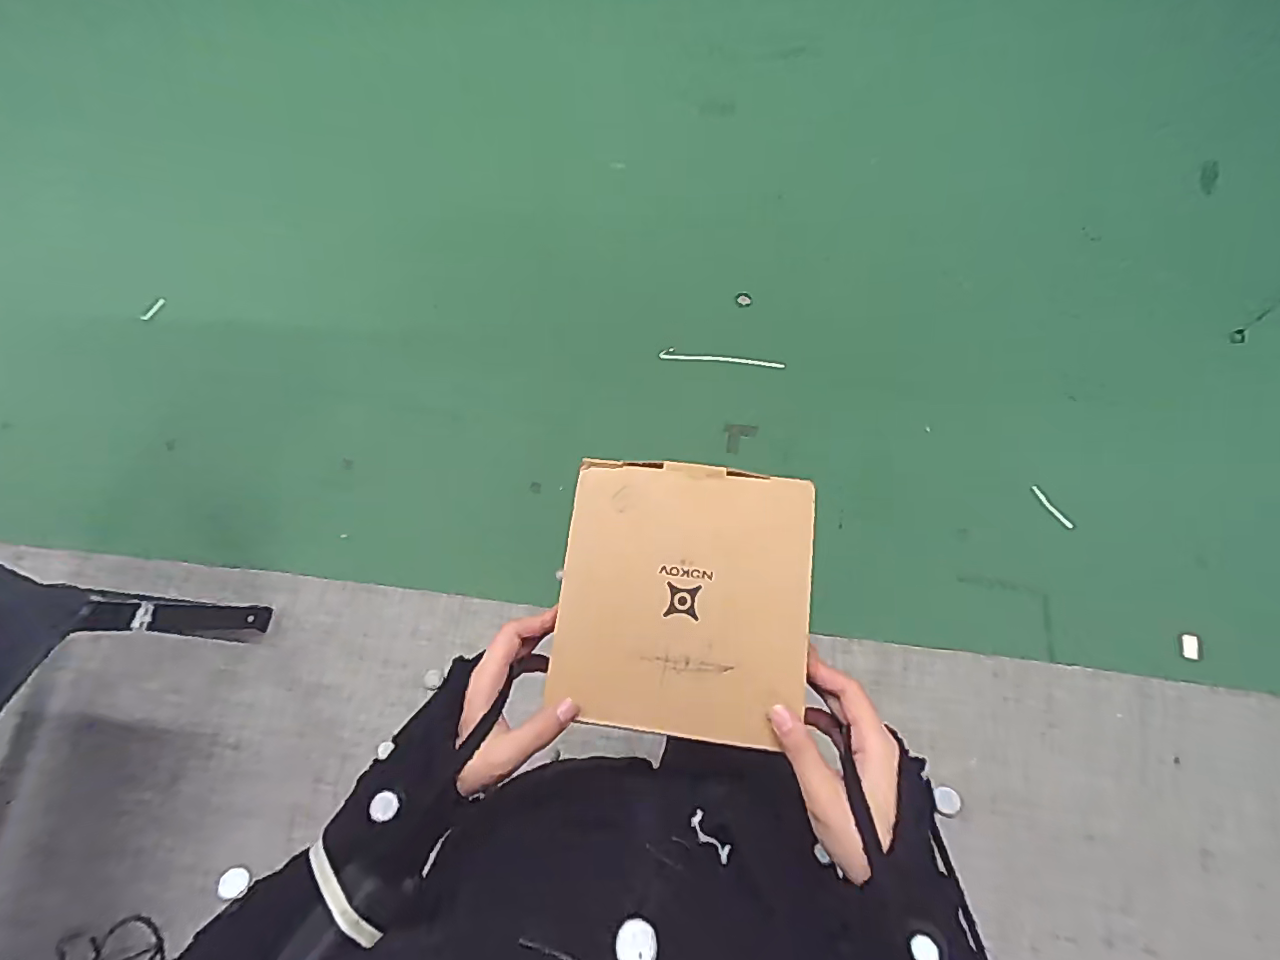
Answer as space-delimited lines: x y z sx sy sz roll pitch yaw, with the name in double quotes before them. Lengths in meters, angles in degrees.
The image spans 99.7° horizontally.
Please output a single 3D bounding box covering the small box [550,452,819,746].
"small box" 0.038 0.091 0.437 0.168 0.176 0.179 6 77 6
